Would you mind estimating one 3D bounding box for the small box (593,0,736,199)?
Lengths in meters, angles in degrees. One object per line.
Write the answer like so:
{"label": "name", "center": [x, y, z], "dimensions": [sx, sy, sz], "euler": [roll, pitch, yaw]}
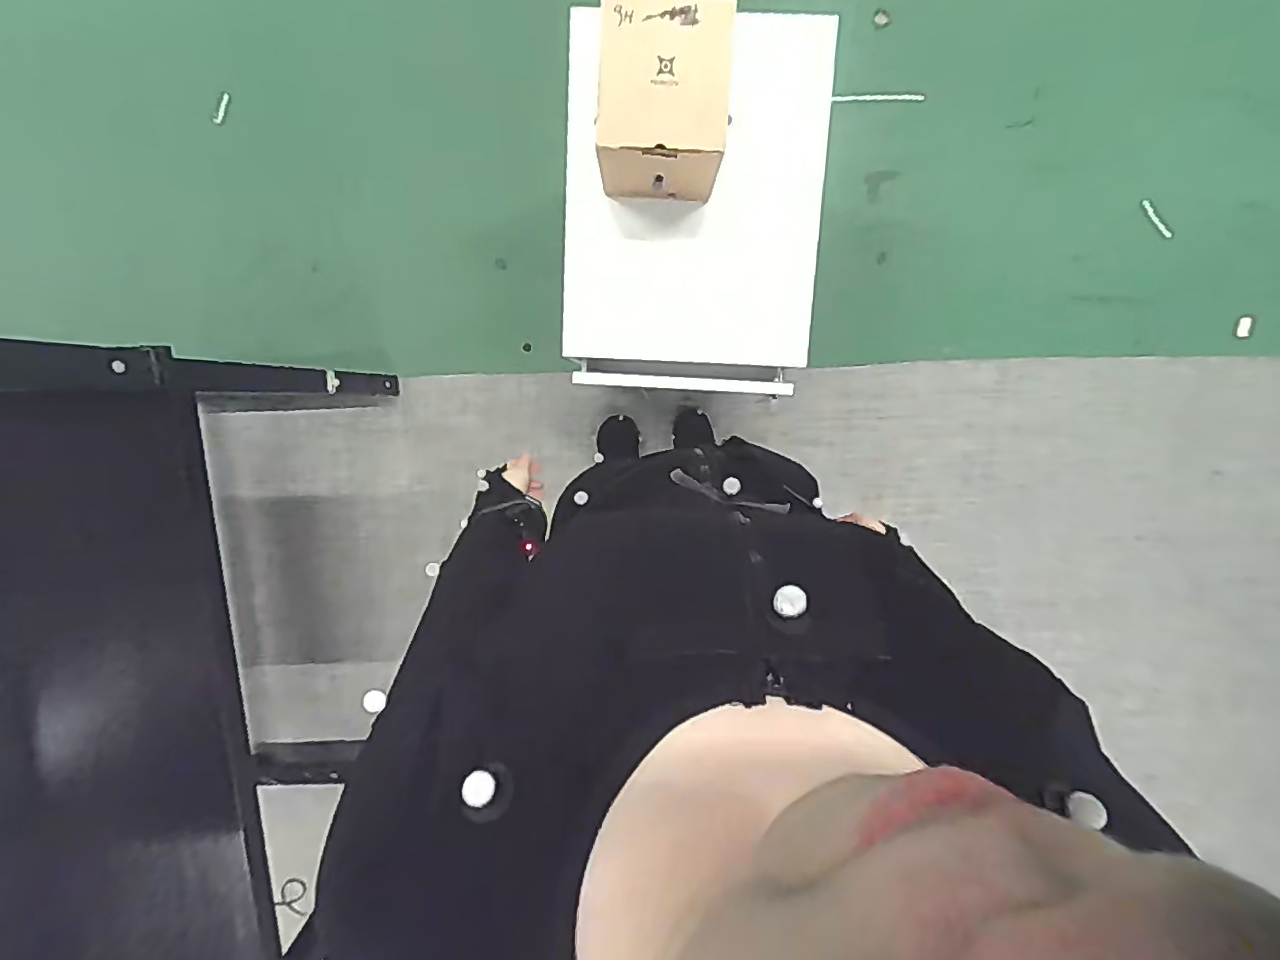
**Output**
{"label": "small box", "center": [0.030, -0.500, 0.731], "dimensions": [0.168, 0.176, 0.179], "euler": [3, 99, 0]}
